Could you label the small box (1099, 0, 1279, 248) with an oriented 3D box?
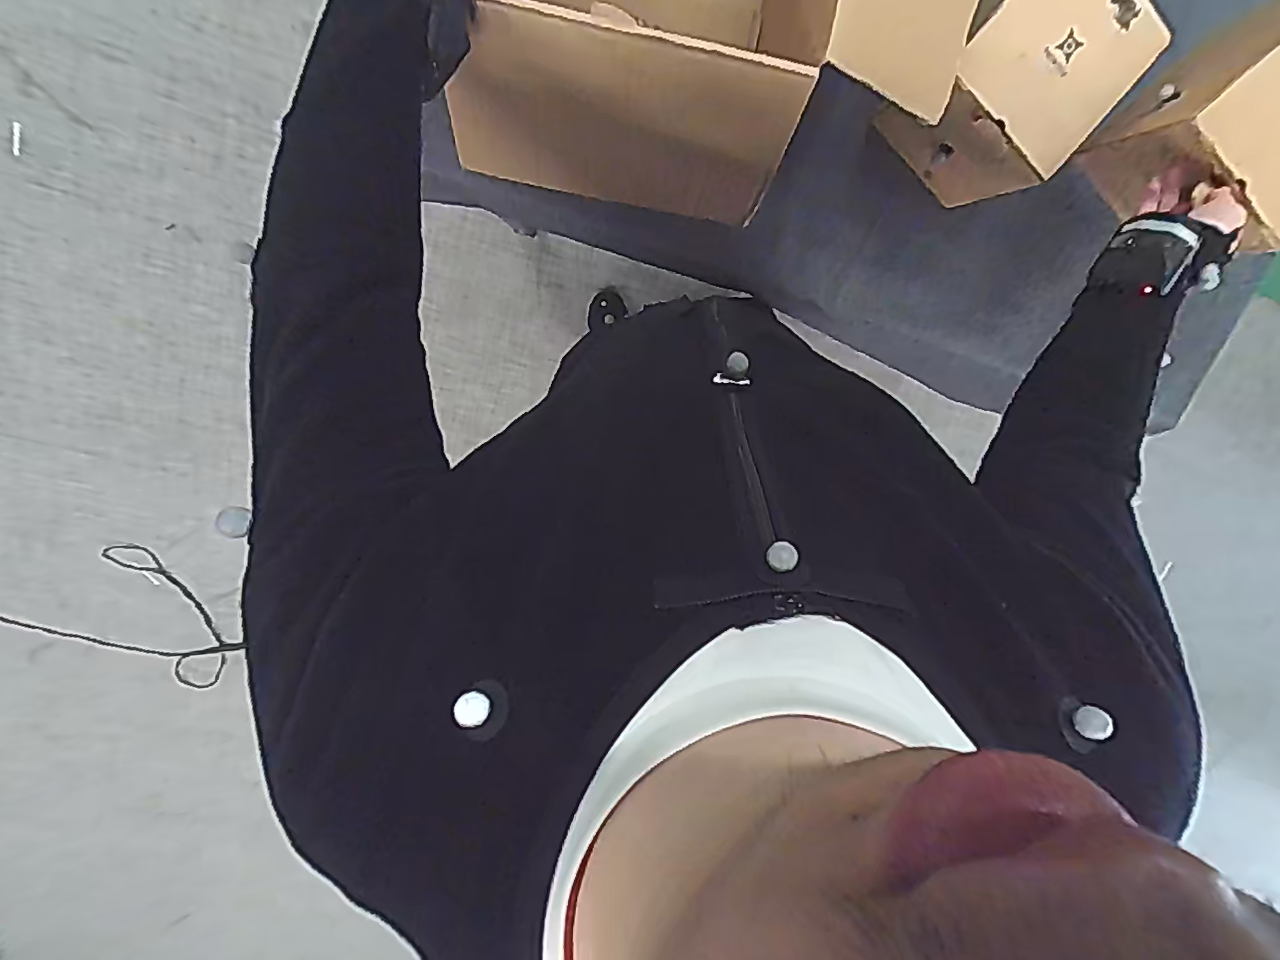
[{"bbox_3d":[0.624,-0.358,0.547,0.168,0.176,0.179,42,109,-11],"label":"small box"}]
